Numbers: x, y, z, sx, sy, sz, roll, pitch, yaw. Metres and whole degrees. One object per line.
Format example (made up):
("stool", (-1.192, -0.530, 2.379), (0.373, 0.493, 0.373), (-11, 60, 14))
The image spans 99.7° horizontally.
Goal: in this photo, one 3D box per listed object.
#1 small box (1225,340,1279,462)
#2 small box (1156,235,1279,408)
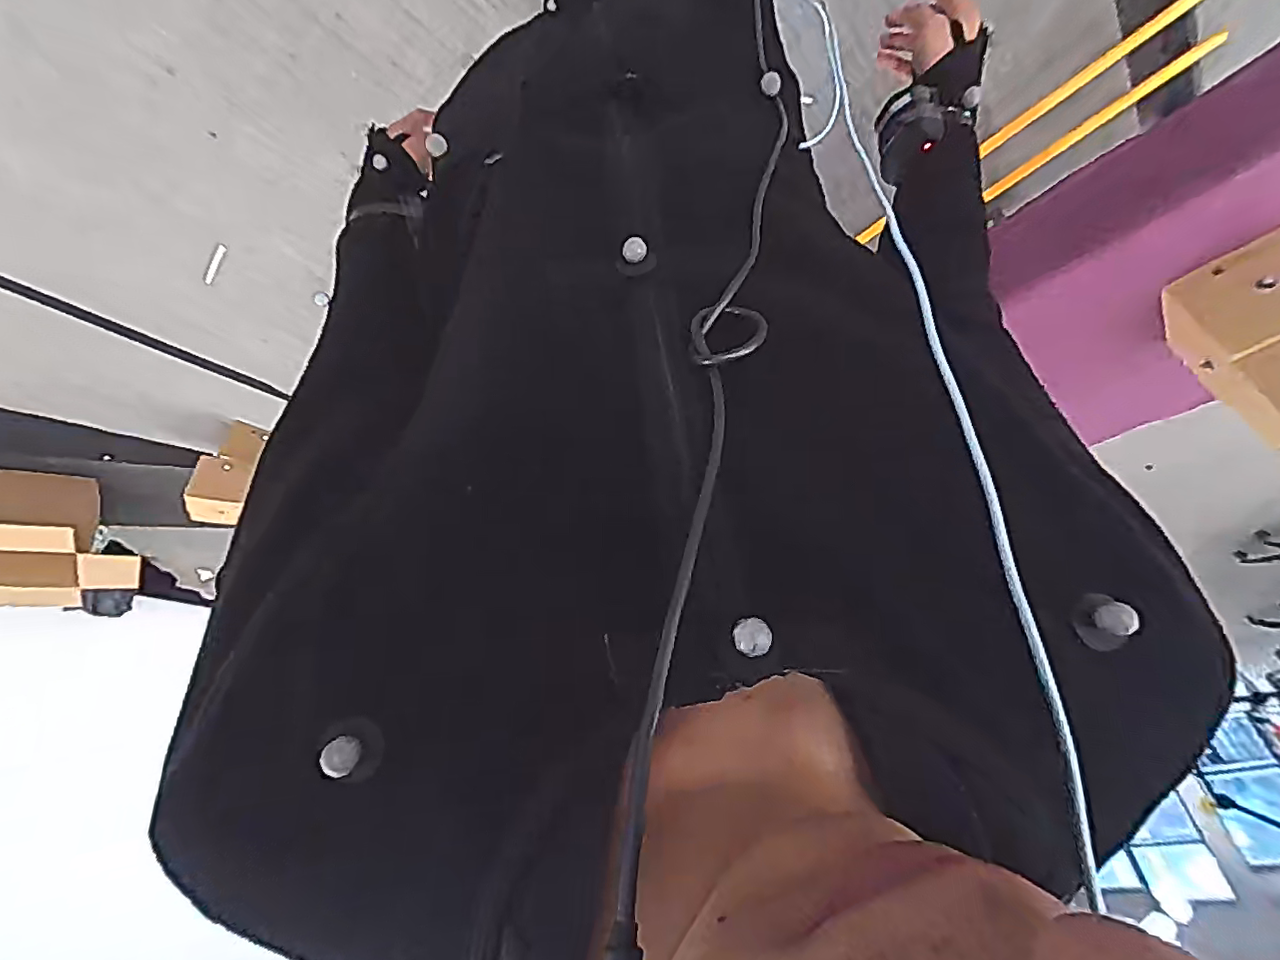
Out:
("small box", (0.991, -0.116, 0.766), (0.179, 0.176, 0.168), (25, 135, -38))
("small box", (0.966, -0.253, 0.855), (0.168, 0.176, 0.179), (-30, 139, 31))
